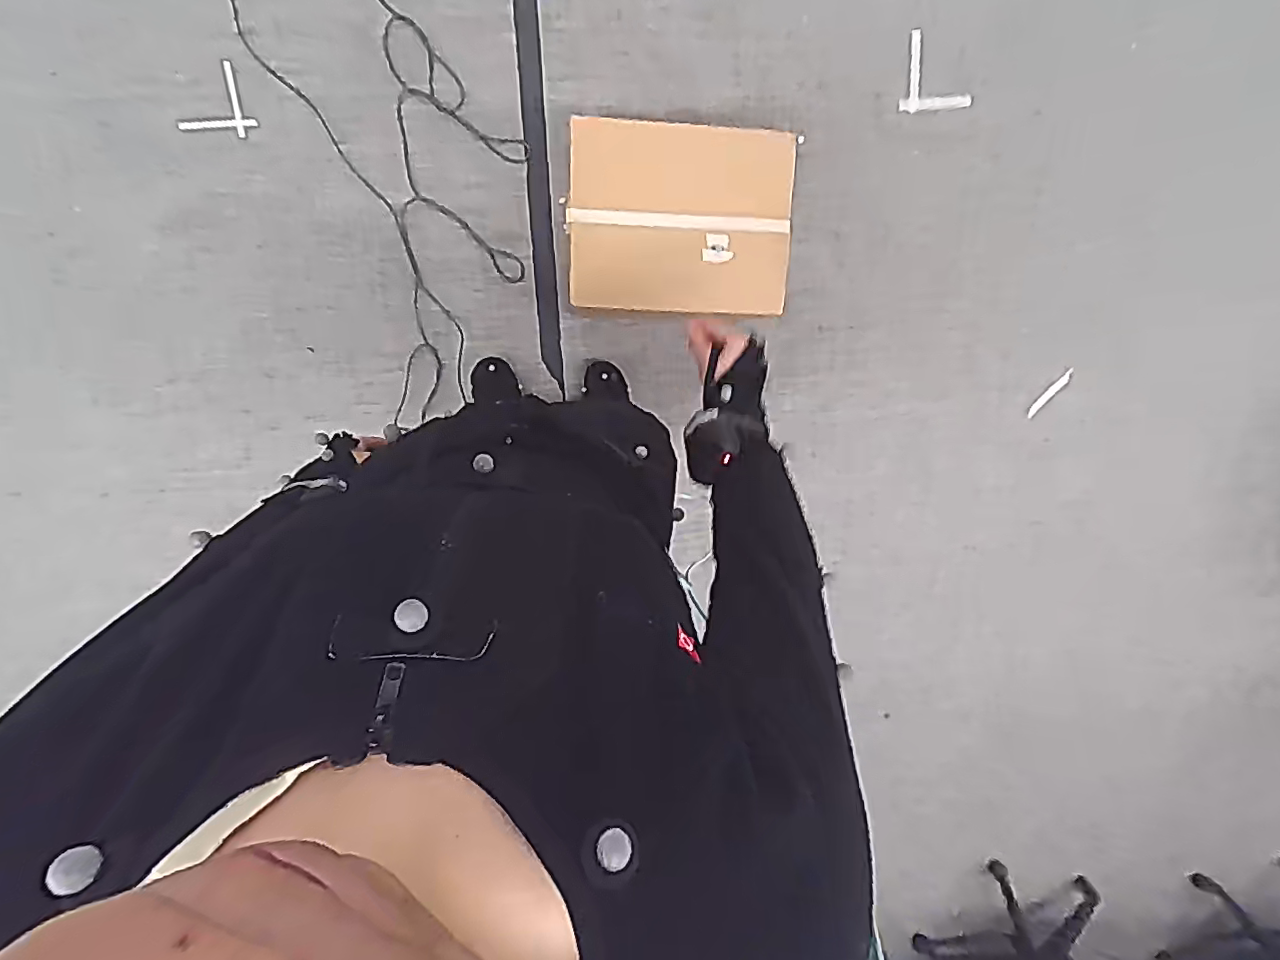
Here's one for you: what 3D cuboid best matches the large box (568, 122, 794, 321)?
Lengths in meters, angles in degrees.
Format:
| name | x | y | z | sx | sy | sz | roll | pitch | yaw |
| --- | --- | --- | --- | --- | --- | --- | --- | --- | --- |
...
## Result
| name | x | y | z | sx | sy | sz | roll | pitch | yaw |
| --- | --- | --- | --- | --- | --- | --- | --- | --- | --- |
| large box | 0.059 | -0.498 | 1.119 | 0.408 | 0.320 | 0.320 | 0 | 104 | -7 |
